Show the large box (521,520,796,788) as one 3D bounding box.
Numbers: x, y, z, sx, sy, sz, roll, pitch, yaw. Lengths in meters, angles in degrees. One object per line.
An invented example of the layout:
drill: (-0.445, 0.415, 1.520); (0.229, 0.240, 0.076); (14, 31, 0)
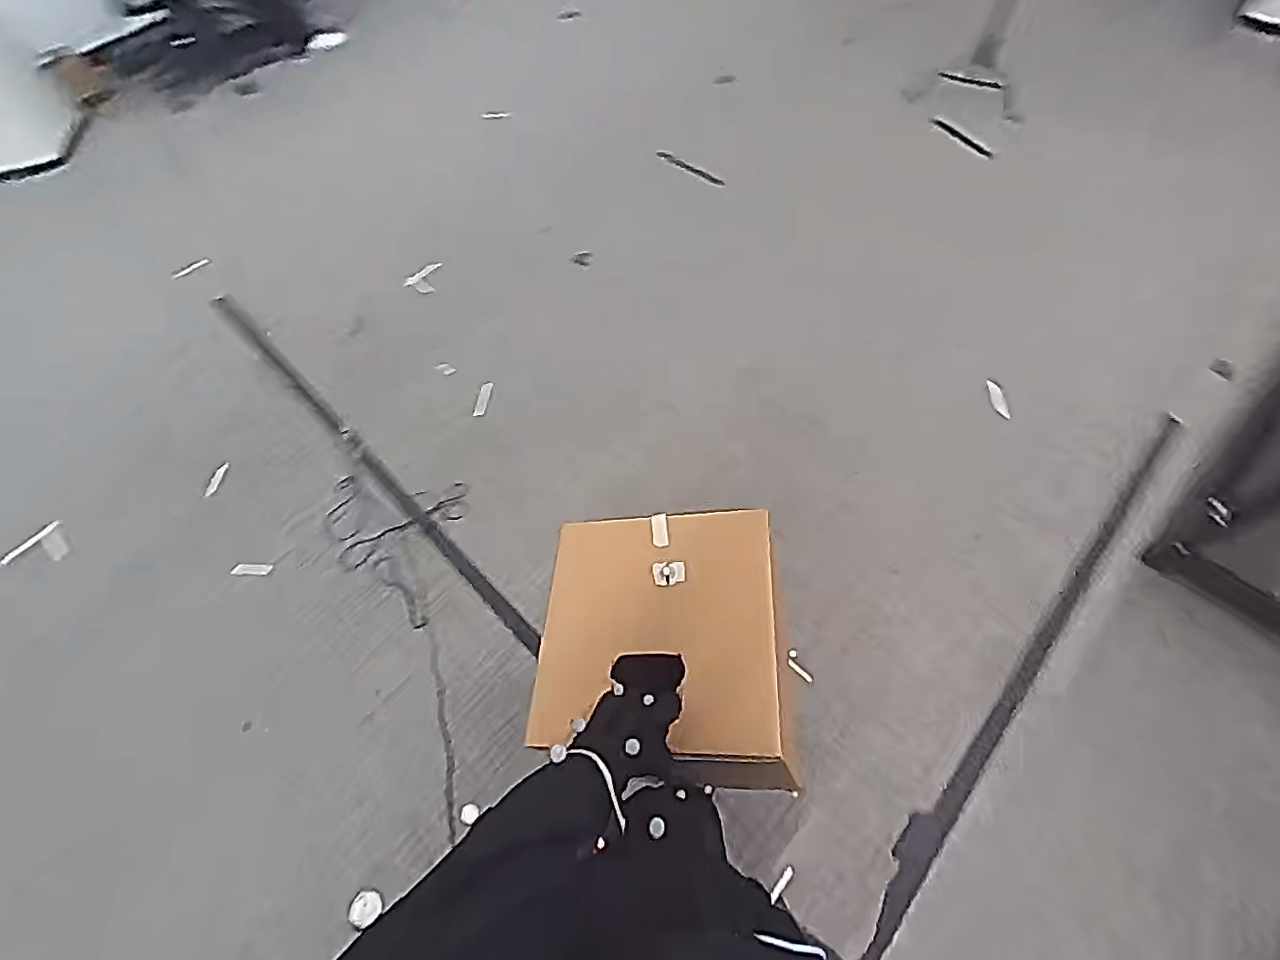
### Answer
large box: (0.060, 0.298, 0.865); (0.320, 0.408, 0.320); (-6, 57, 17)
